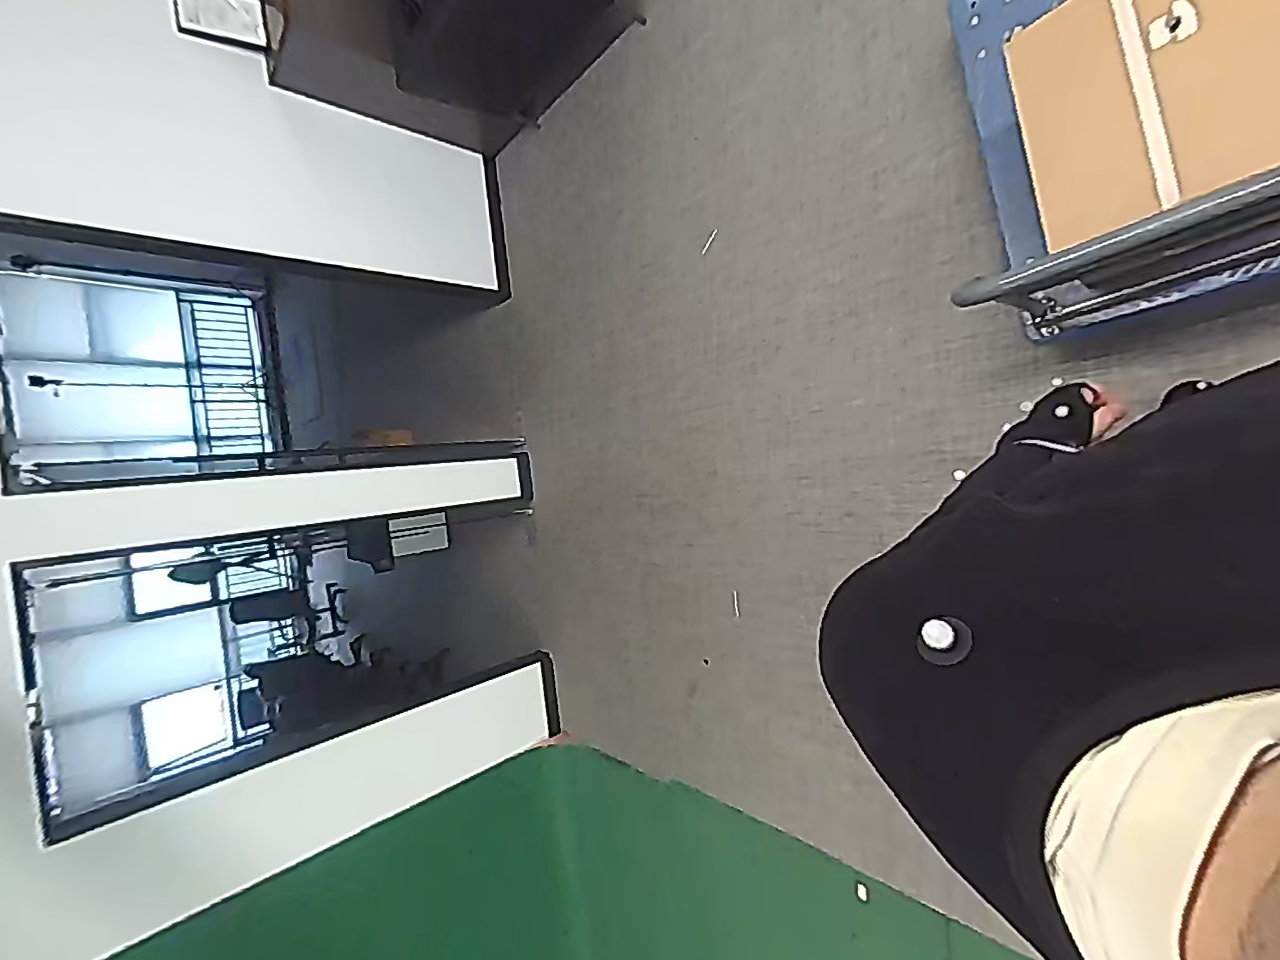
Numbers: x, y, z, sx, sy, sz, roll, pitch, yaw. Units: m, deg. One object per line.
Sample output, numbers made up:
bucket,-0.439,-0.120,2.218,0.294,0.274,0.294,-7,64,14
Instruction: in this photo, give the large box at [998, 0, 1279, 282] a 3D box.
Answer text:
large box,0.893,-0.624,0.950,0.320,0.320,0.408,-14,84,47
